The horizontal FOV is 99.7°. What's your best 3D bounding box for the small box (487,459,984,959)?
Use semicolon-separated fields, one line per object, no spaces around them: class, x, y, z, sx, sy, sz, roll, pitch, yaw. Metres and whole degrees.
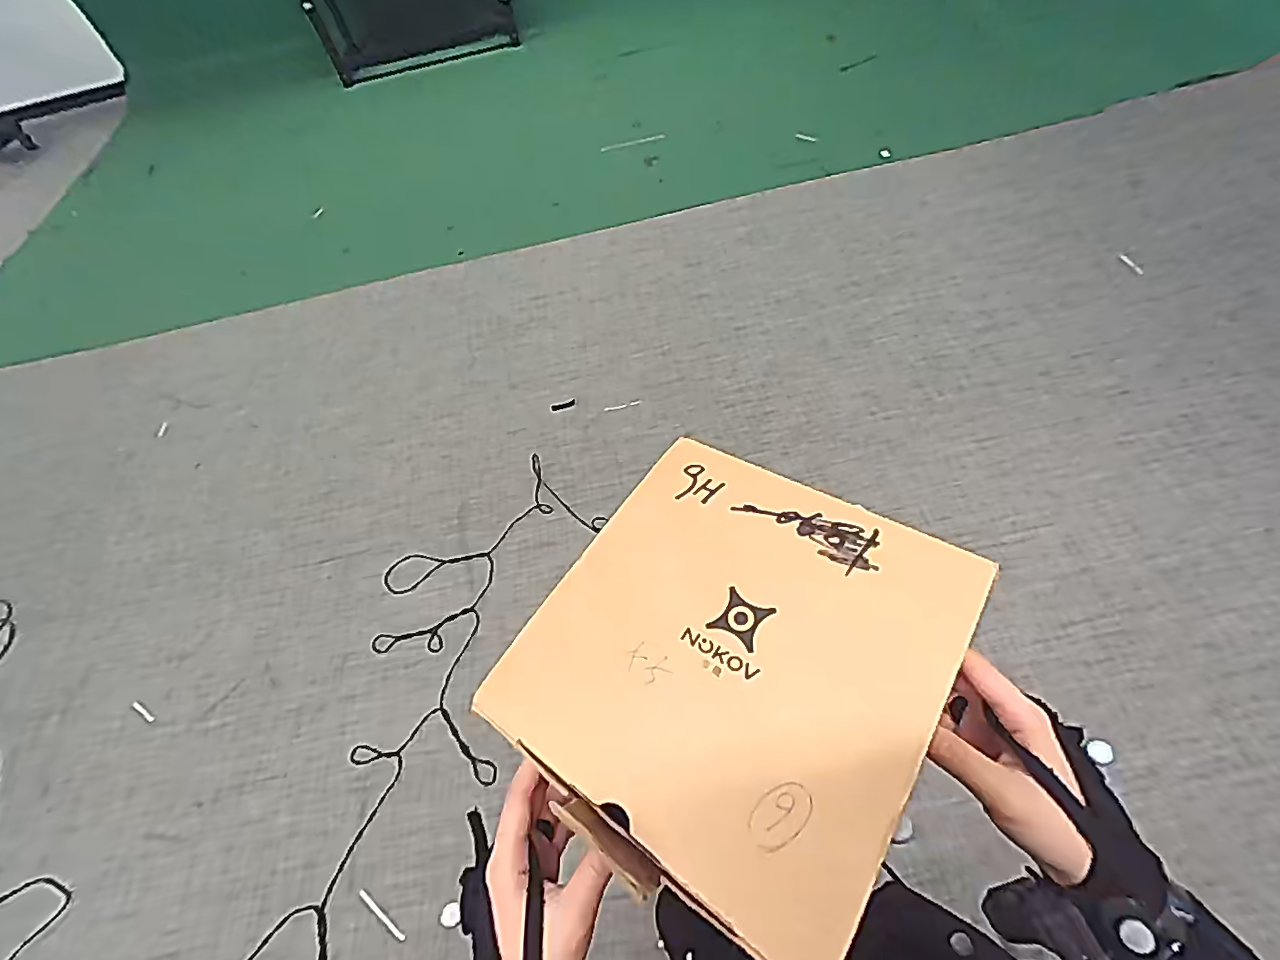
small box;0.056;0.126;0.306;0.168;0.176;0.179;25;63;28
